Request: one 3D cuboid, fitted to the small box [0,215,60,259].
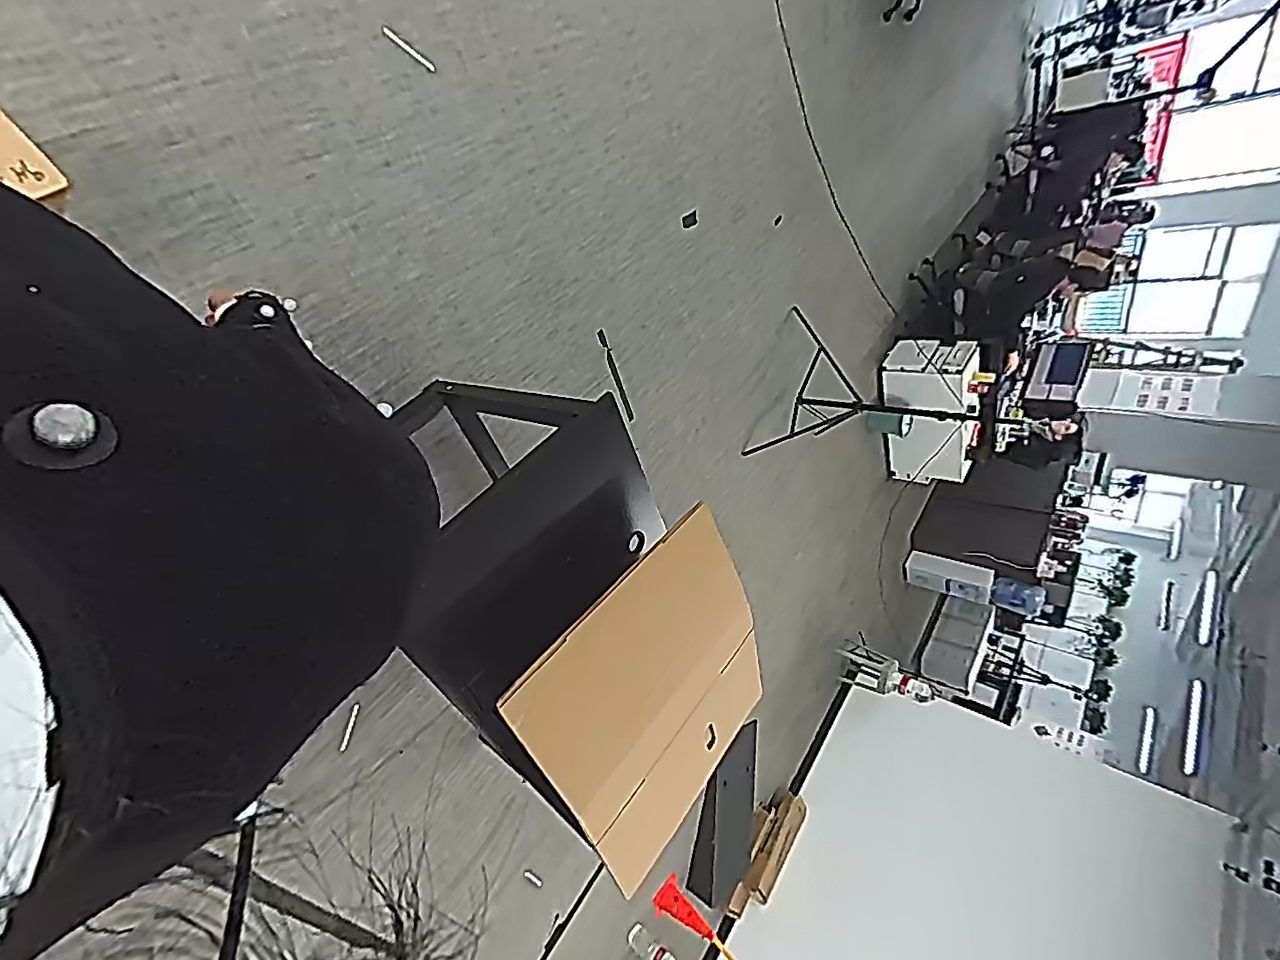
[{"bbox_3d":[-1.099,-0.444,0.861,0.179,0.176,0.168,-49,132,-27],"label":"small box"}]

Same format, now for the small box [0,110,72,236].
[{"bbox_3d":[-0.857,-0.393,0.649,0.168,0.176,0.179,-50,133,-27],"label":"small box"}]

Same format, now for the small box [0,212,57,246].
[{"bbox_3d":[-0.977,-0.421,0.758,0.179,0.176,0.168,-53,135,-26],"label":"small box"}]
